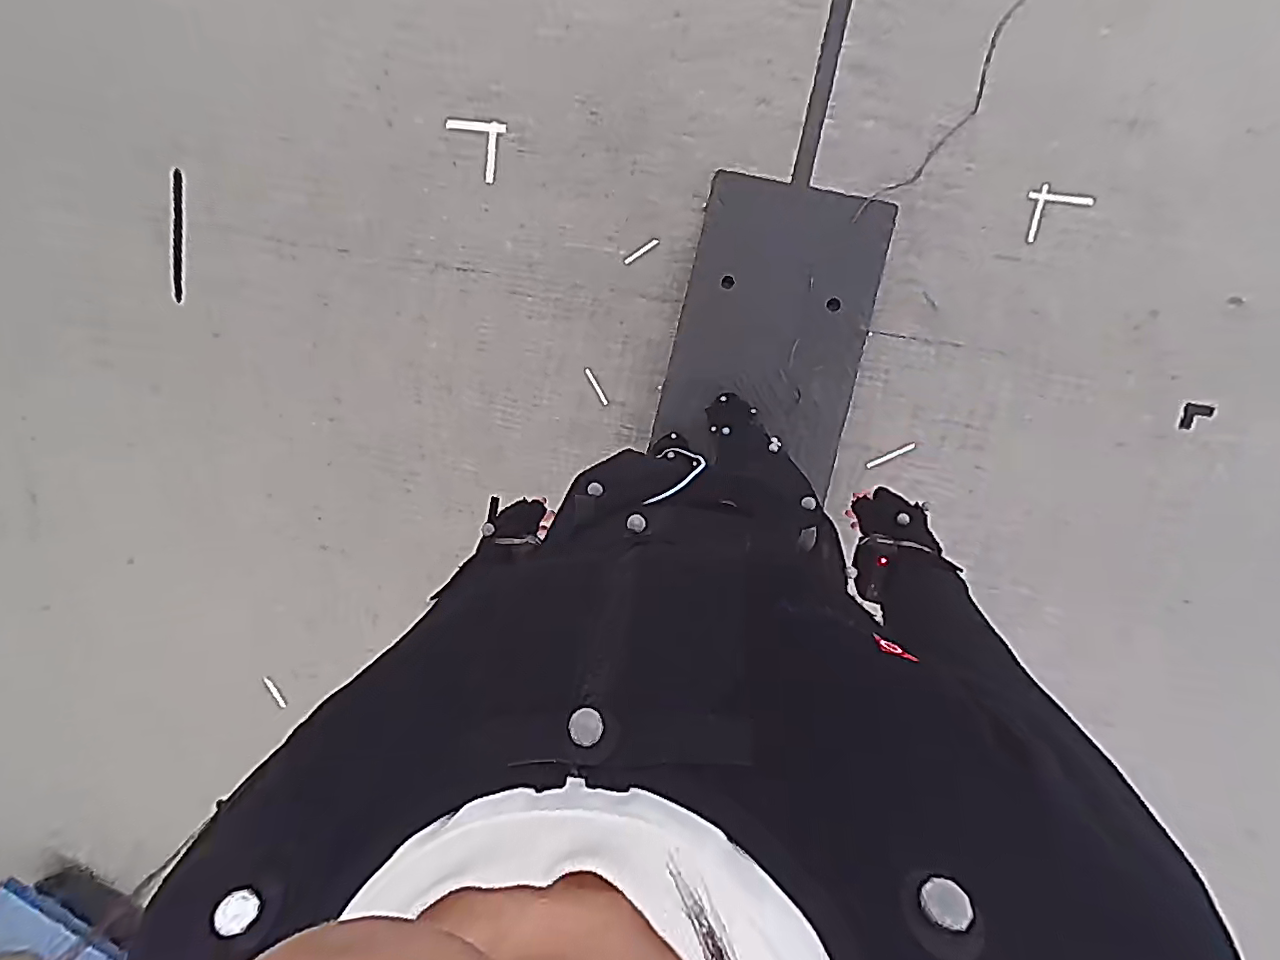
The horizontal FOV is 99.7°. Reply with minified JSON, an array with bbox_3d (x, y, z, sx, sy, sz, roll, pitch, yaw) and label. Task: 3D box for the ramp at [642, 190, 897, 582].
[{"bbox_3d":[0.342,-0.266,1.452,0.509,0.206,0.991,11,99,8],"label":"ramp"}]
